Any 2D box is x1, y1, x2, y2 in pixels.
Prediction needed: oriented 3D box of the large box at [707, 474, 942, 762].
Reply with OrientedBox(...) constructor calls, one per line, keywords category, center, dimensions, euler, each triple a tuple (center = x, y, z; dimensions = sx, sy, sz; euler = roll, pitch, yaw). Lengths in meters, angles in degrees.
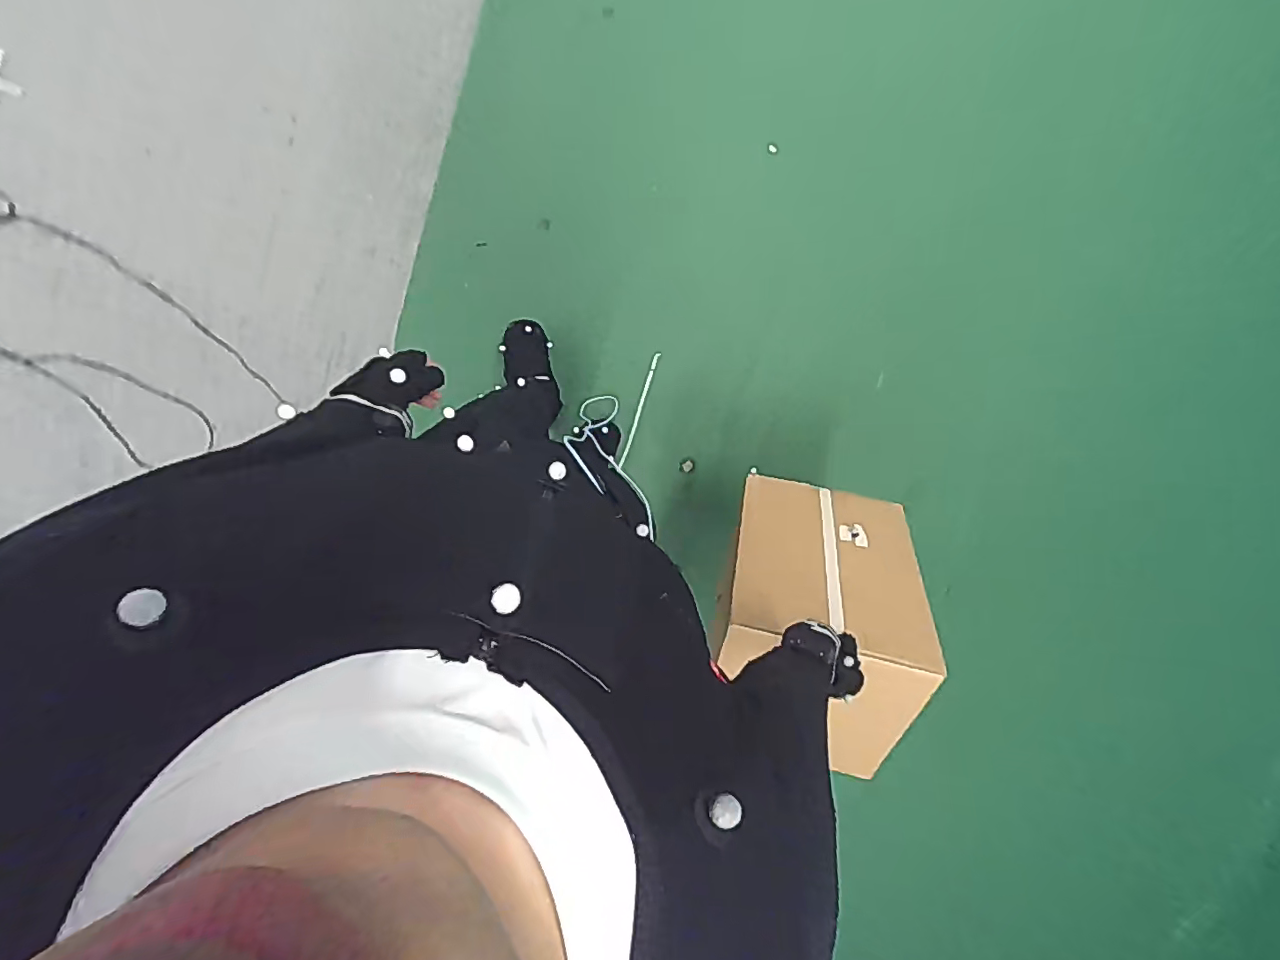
OrientedBox(category="large box", center=(0.318, 0.246, 1.040), dimensions=(0.320, 0.408, 0.320), euler=(12, 126, 7))
